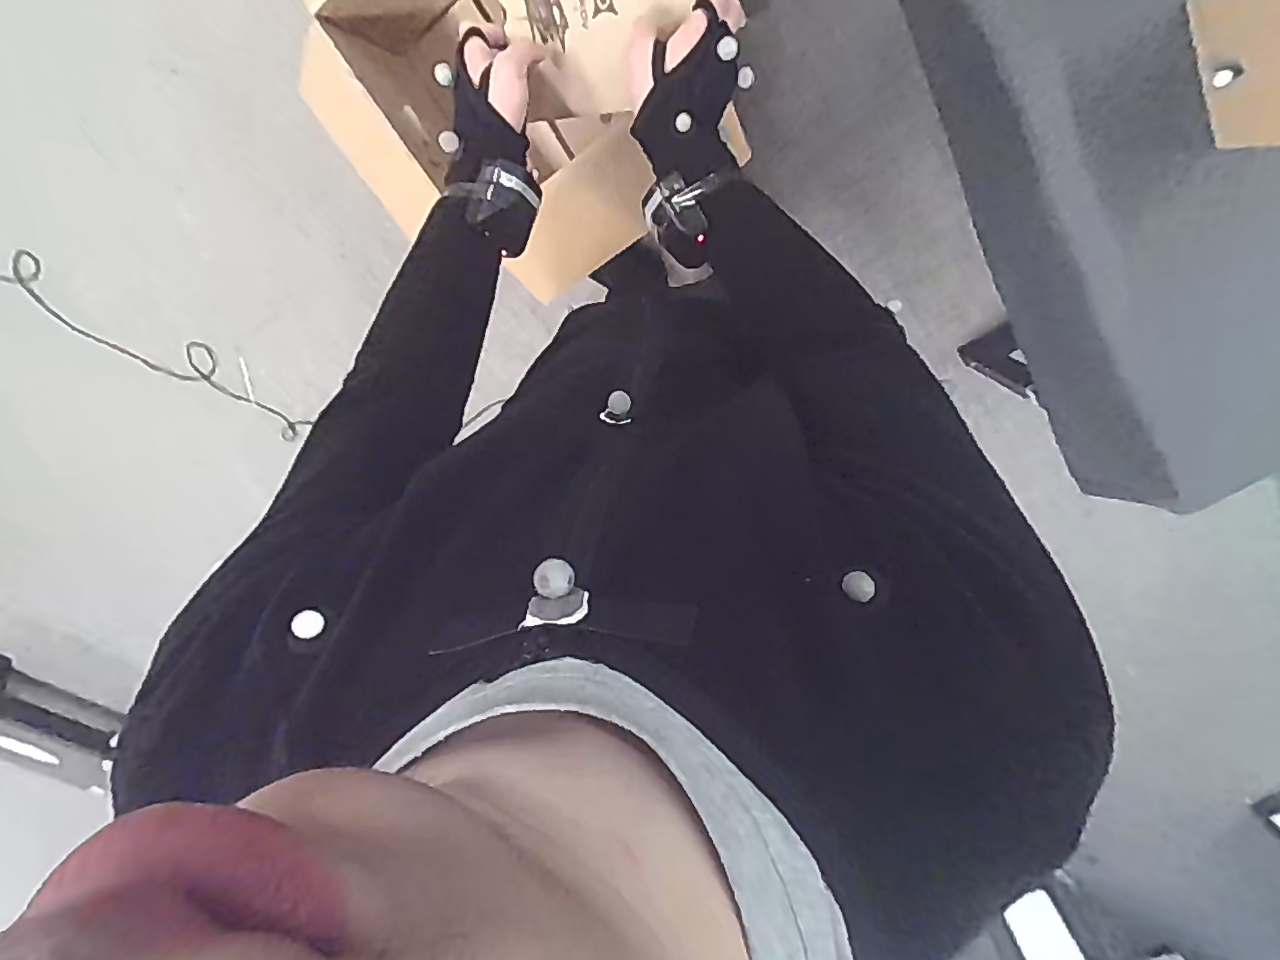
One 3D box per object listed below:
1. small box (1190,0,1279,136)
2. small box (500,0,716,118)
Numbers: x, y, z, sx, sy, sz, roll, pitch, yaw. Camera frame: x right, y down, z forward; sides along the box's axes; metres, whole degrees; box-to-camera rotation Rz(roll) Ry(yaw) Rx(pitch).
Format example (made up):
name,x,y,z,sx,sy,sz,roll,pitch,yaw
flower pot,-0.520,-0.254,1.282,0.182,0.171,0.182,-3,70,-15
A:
name,x,y,z,sx,sy,sz,roll,pitch,yaw
small box,0.674,-0.448,0.495,0.168,0.176,0.179,-33,114,17
small box,-0.023,-0.460,0.512,0.179,0.176,0.168,1,133,11
